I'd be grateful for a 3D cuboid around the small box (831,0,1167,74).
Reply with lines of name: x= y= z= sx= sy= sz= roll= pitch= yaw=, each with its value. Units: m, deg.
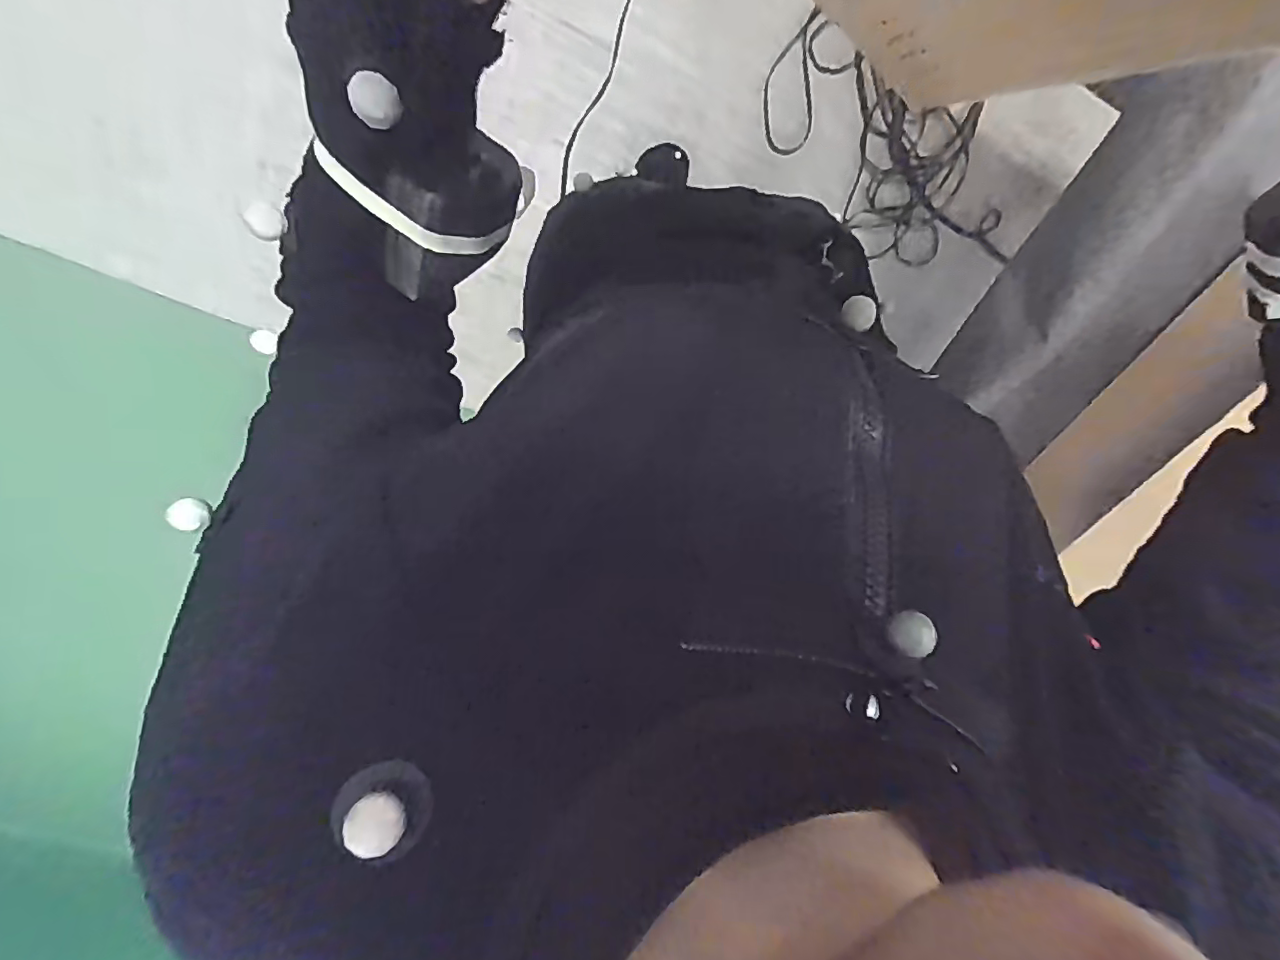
small box: x=0.082 y=-0.191 z=0.060 sx=0.168 sy=0.176 sz=0.179 roll=29 pitch=113 yaw=-21
